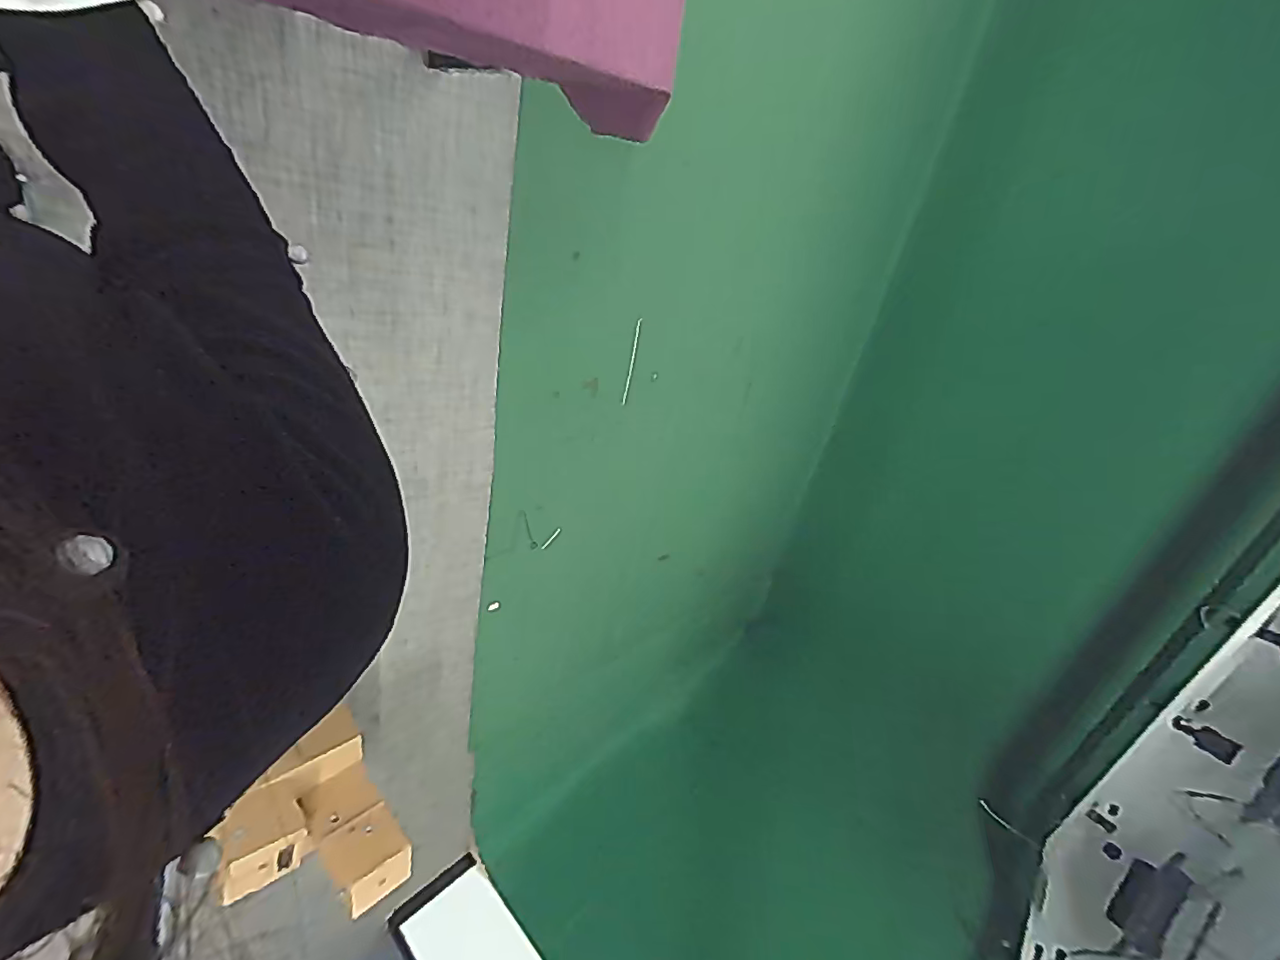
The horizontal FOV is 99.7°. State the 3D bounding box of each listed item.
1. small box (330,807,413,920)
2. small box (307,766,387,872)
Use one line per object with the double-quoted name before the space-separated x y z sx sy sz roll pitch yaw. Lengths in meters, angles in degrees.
"small box" -0.779 1.101 1.566 0.168 0.176 0.179 -17 130 -45
"small box" -0.896 1.028 1.651 0.179 0.176 0.168 -19 132 -44
